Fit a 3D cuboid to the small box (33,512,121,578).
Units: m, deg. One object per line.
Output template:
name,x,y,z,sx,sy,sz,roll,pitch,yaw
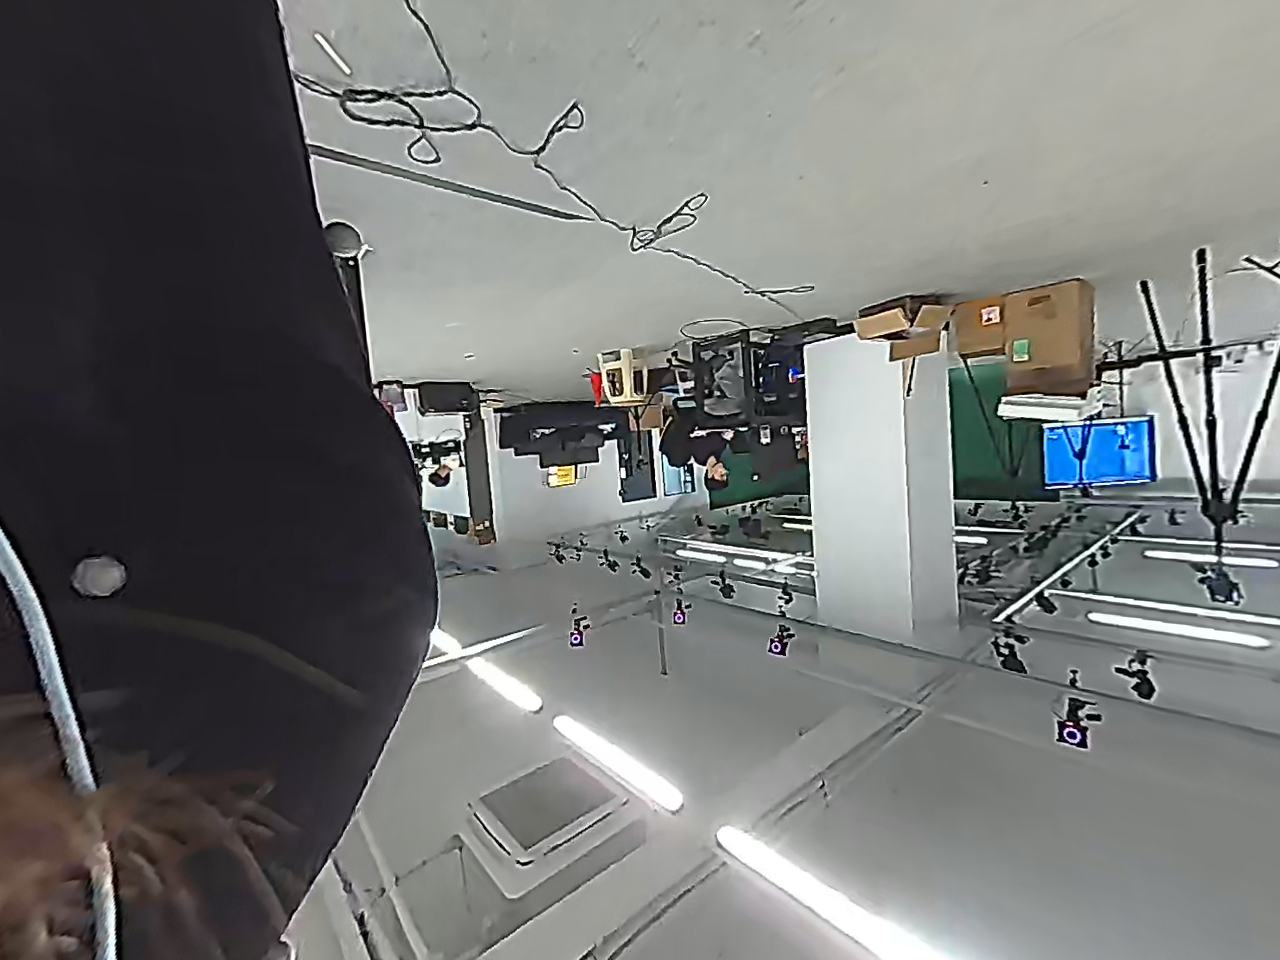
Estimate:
small box,-1.740,0.193,1.677,0.168,0.176,0.179,-9,-174,-40
